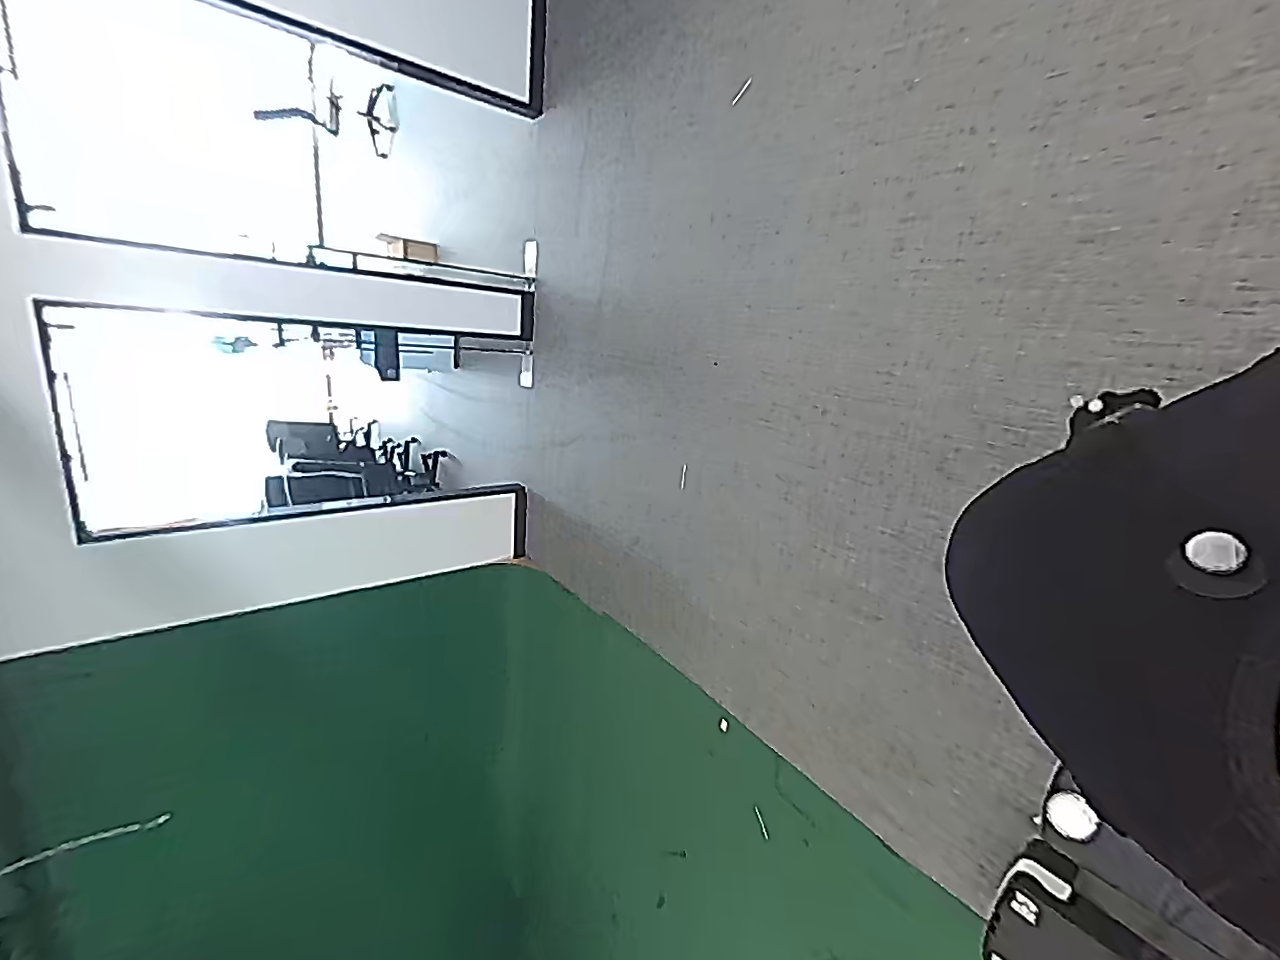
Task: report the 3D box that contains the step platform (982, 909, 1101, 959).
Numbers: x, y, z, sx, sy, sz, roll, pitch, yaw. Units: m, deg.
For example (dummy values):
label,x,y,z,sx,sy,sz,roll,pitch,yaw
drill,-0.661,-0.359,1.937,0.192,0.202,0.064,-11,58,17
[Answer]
label,x,y,z,sx,sy,sz,roll,pitch,yaw
step platform,0.978,1.166,0.955,0.684,0.204,0.286,23,113,48
